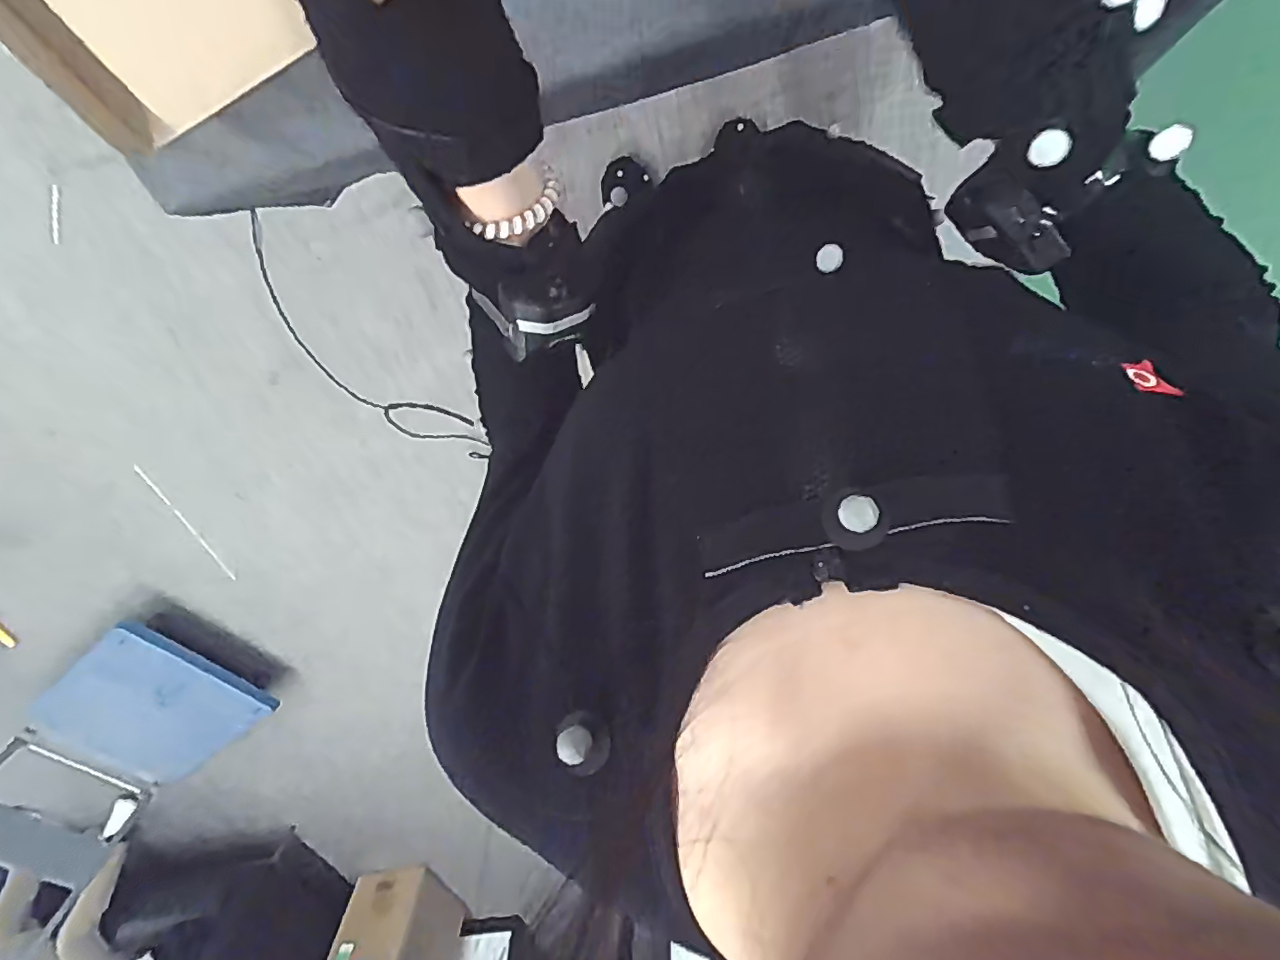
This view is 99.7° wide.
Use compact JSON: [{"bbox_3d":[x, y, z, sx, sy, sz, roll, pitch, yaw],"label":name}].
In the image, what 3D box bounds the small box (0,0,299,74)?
[{"bbox_3d":[-0.421,-0.453,0.420,0.168,0.176,0.179,-14,121,9],"label":"small box"}]
